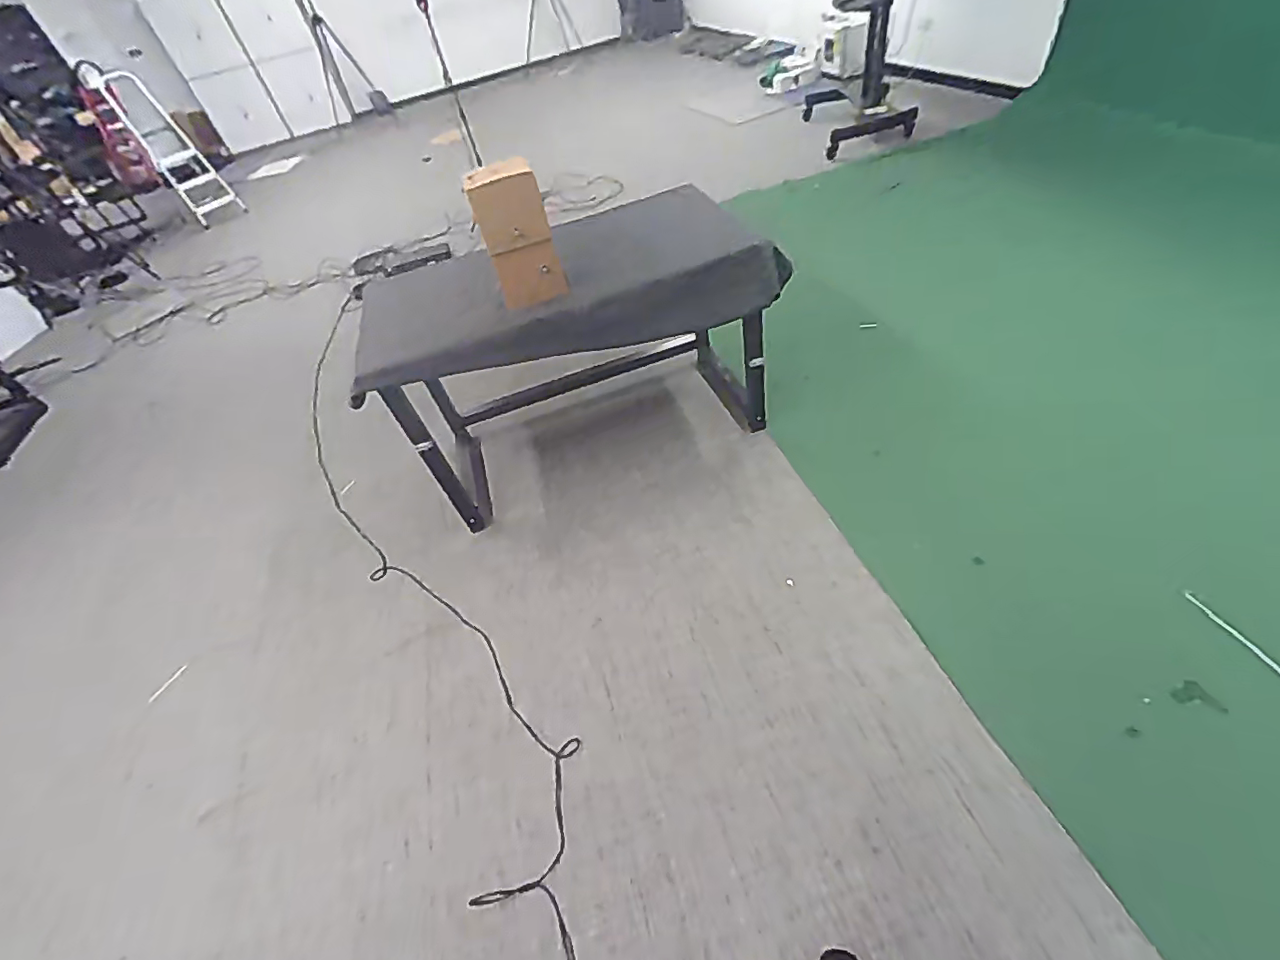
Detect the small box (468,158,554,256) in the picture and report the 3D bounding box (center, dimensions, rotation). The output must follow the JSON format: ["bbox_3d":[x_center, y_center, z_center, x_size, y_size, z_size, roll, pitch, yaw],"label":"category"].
[{"bbox_3d":[-0.336,-0.720,1.428,0.179,0.176,0.168,-19,44,-5],"label":"small box"}]

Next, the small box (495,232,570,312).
[{"bbox_3d":[-0.309,-0.610,1.547,0.179,0.176,0.168,-21,44,-4],"label":"small box"}]
